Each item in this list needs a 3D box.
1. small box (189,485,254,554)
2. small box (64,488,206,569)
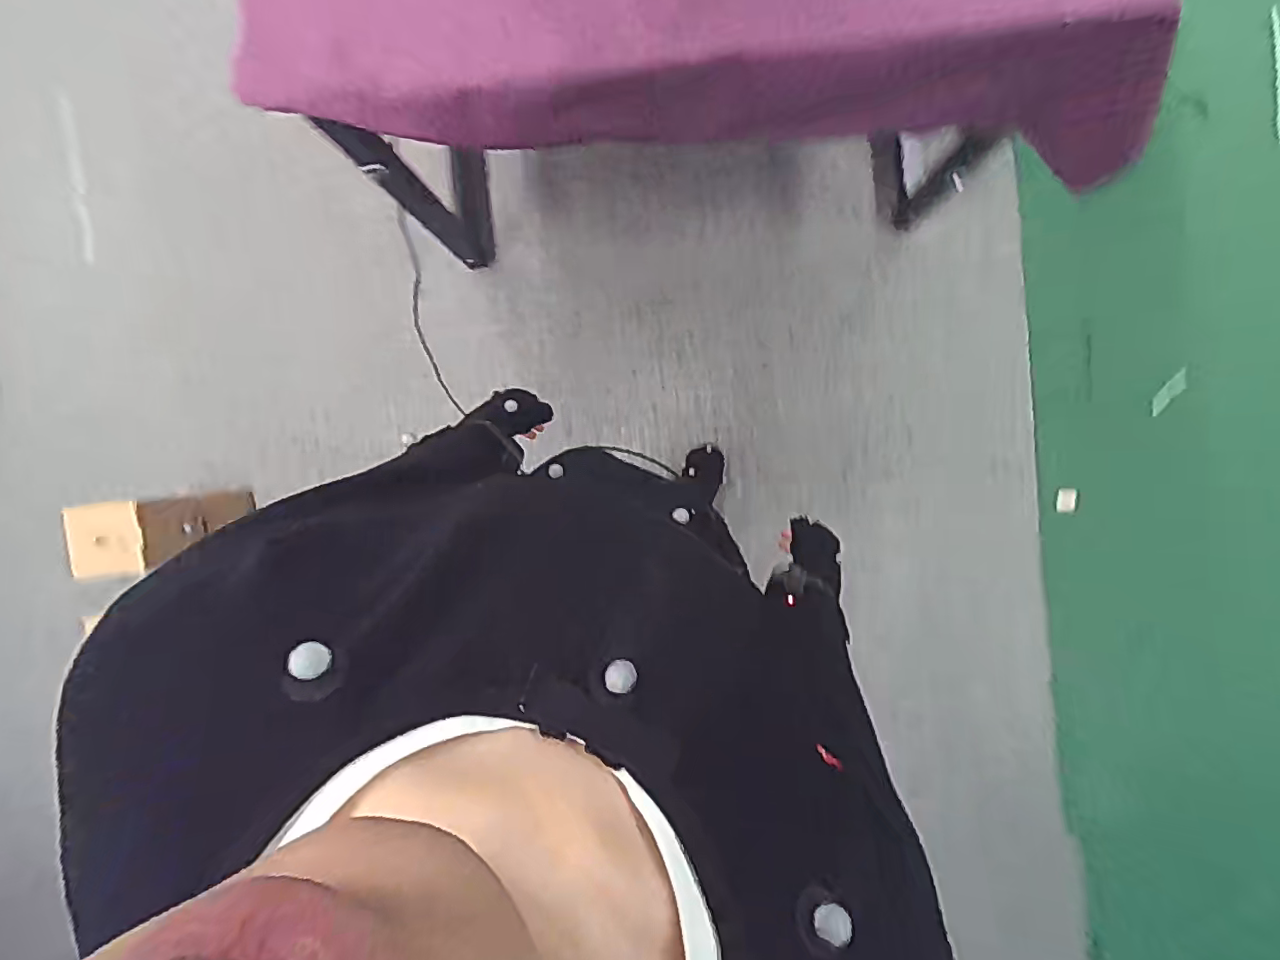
[{"bbox_3d":[-1.178,0.106,1.452,0.179,0.176,0.168,-6,92,4],"label":"small box"},{"bbox_3d":[-1.193,0.111,1.288,0.179,0.176,0.168,-6,93,3],"label":"small box"}]
